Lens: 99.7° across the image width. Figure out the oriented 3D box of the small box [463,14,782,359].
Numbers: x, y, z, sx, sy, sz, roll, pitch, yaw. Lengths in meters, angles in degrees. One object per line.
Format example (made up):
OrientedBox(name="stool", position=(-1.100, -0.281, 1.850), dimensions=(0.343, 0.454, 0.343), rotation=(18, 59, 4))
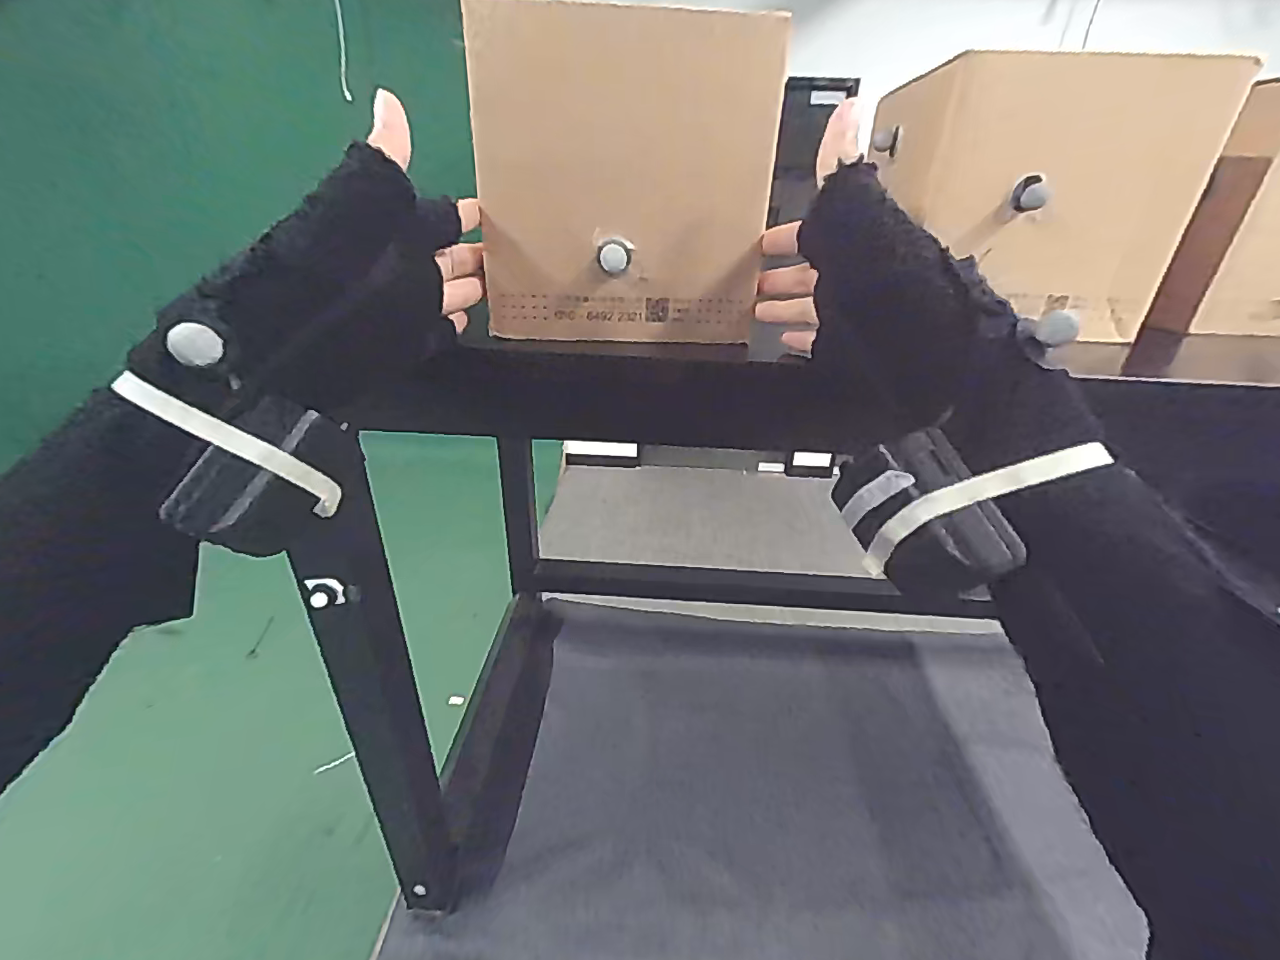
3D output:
OrientedBox(name="small box", position=(-0.015, -0.193, 0.382), dimensions=(0.168, 0.176, 0.179), rotation=(0, 29, -4))
